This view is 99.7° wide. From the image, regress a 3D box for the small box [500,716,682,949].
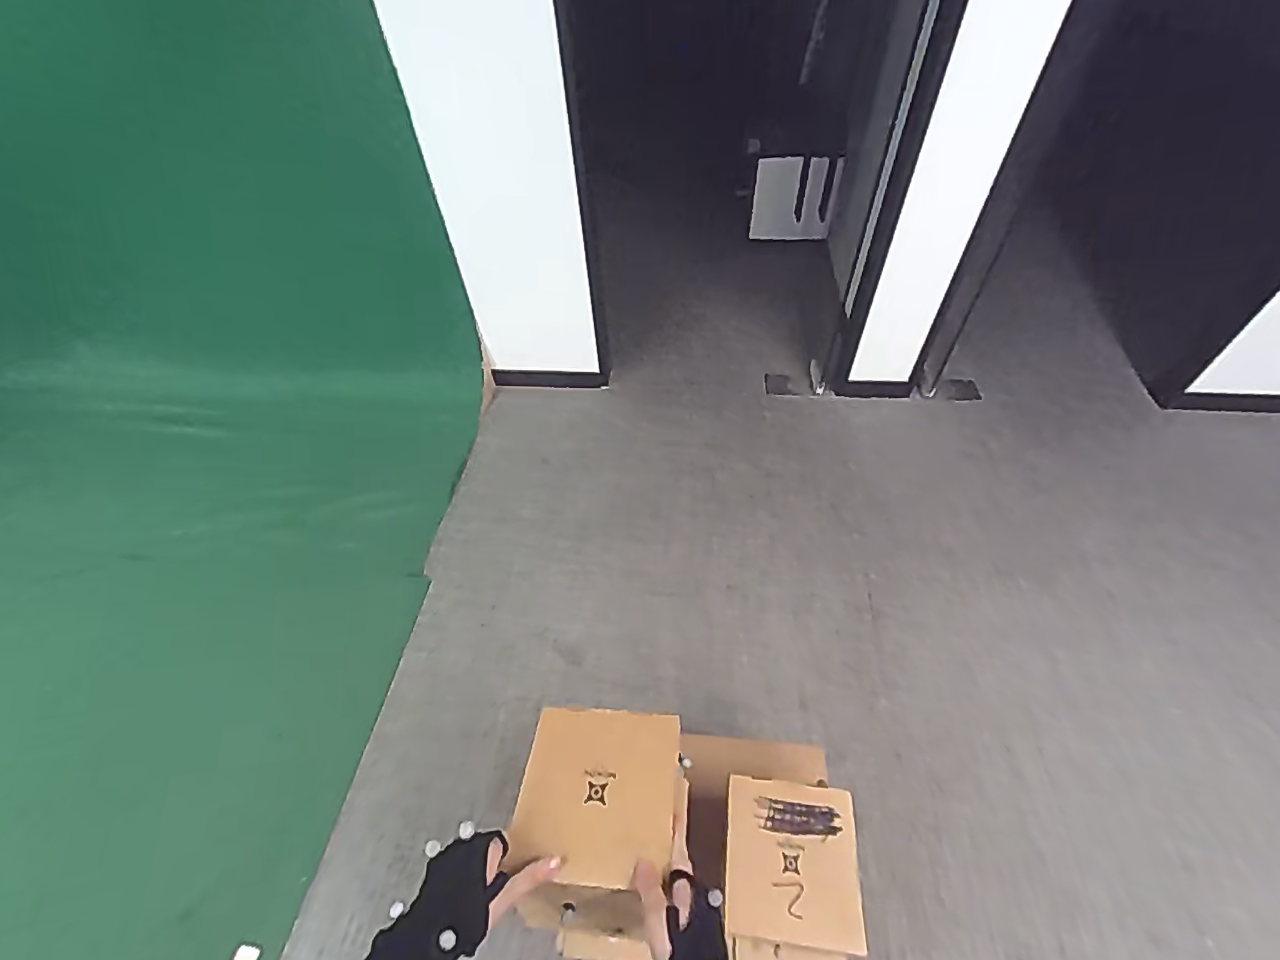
[{"bbox_3d":[-0.039,0.403,0.623,0.168,0.176,0.179,0,36,8],"label":"small box"}]
